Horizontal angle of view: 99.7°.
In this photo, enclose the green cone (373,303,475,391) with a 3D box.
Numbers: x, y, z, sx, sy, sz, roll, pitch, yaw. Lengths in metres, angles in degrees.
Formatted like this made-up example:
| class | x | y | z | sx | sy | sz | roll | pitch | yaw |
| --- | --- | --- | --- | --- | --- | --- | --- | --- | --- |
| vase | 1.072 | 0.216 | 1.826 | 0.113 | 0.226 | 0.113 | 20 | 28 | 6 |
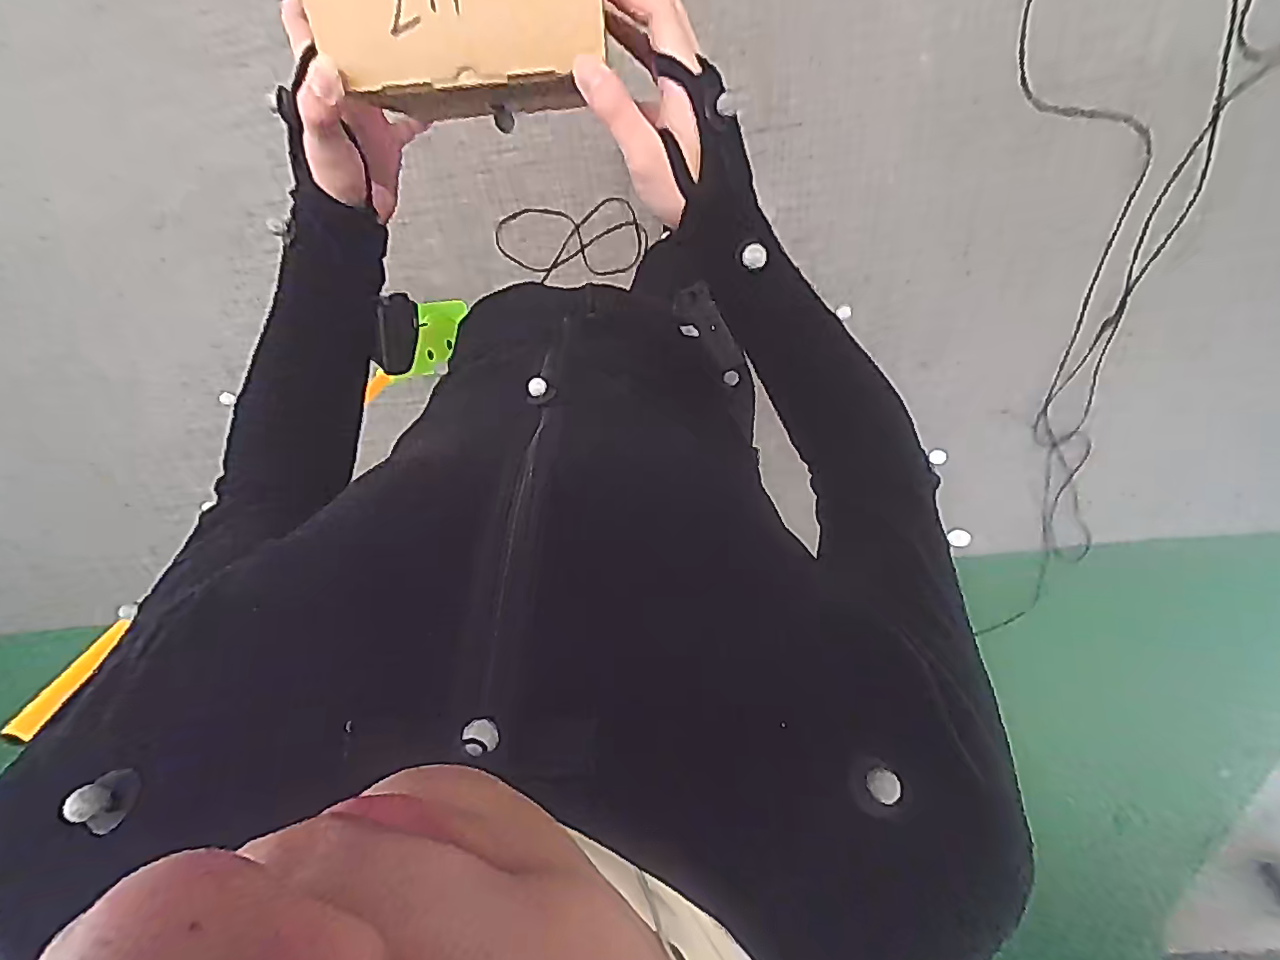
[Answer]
| class | x | y | z | sx | sy | sz | roll | pitch | yaw |
| --- | --- | --- | --- | --- | --- | --- | --- | --- | --- |
| green cone | -0.576 | -0.298 | 1.354 | 0.202 | 0.368 | 0.200 | -5 | 119 | 3 |
